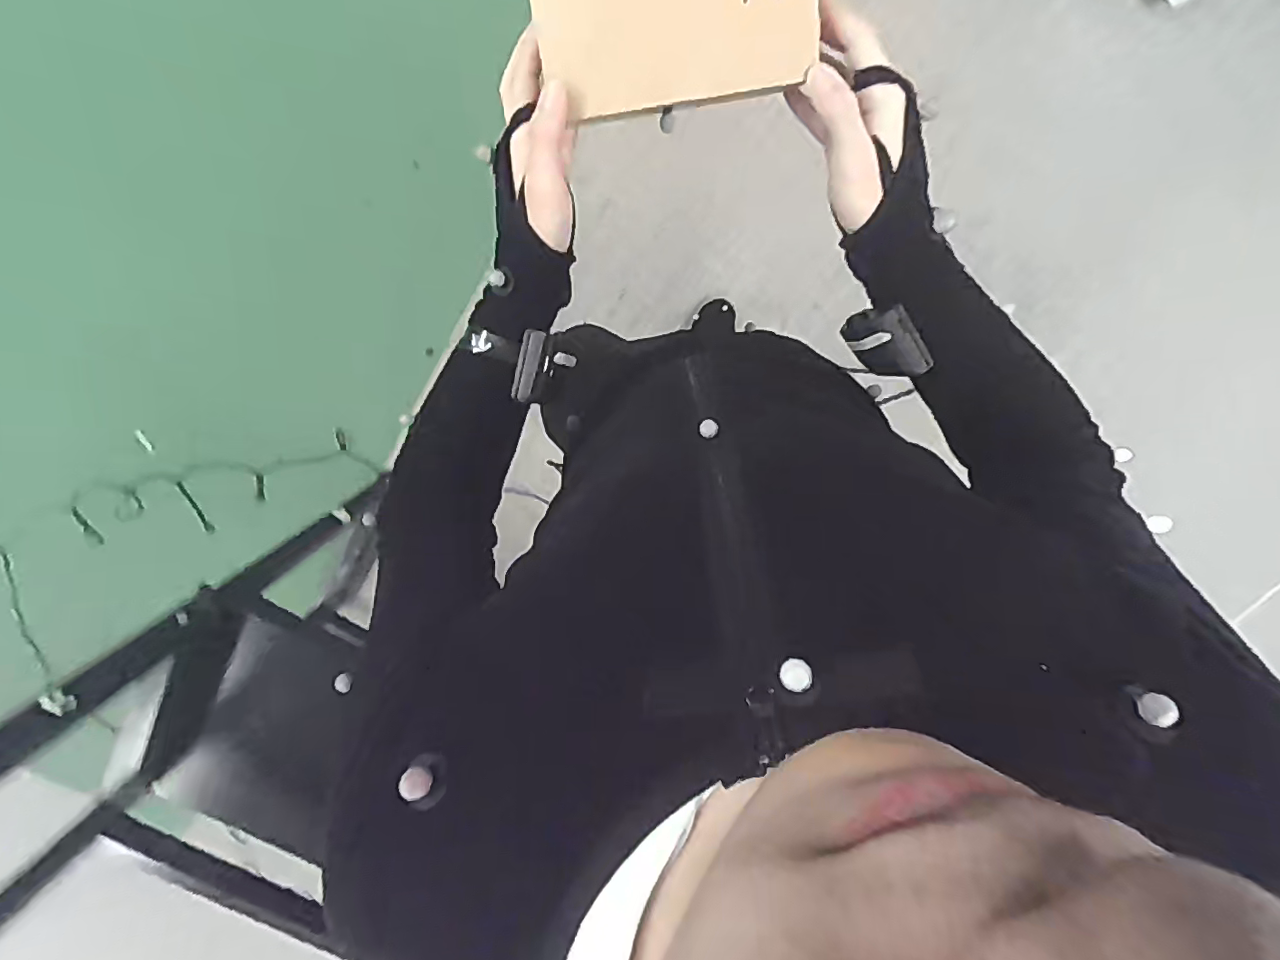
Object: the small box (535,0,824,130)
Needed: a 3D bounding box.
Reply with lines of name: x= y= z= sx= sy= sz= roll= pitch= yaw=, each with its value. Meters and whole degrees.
small box: x=0.024 y=-0.355 z=0.380 sx=0.179 sy=0.176 sz=0.168 roll=-5 pitch=122 yaw=6
